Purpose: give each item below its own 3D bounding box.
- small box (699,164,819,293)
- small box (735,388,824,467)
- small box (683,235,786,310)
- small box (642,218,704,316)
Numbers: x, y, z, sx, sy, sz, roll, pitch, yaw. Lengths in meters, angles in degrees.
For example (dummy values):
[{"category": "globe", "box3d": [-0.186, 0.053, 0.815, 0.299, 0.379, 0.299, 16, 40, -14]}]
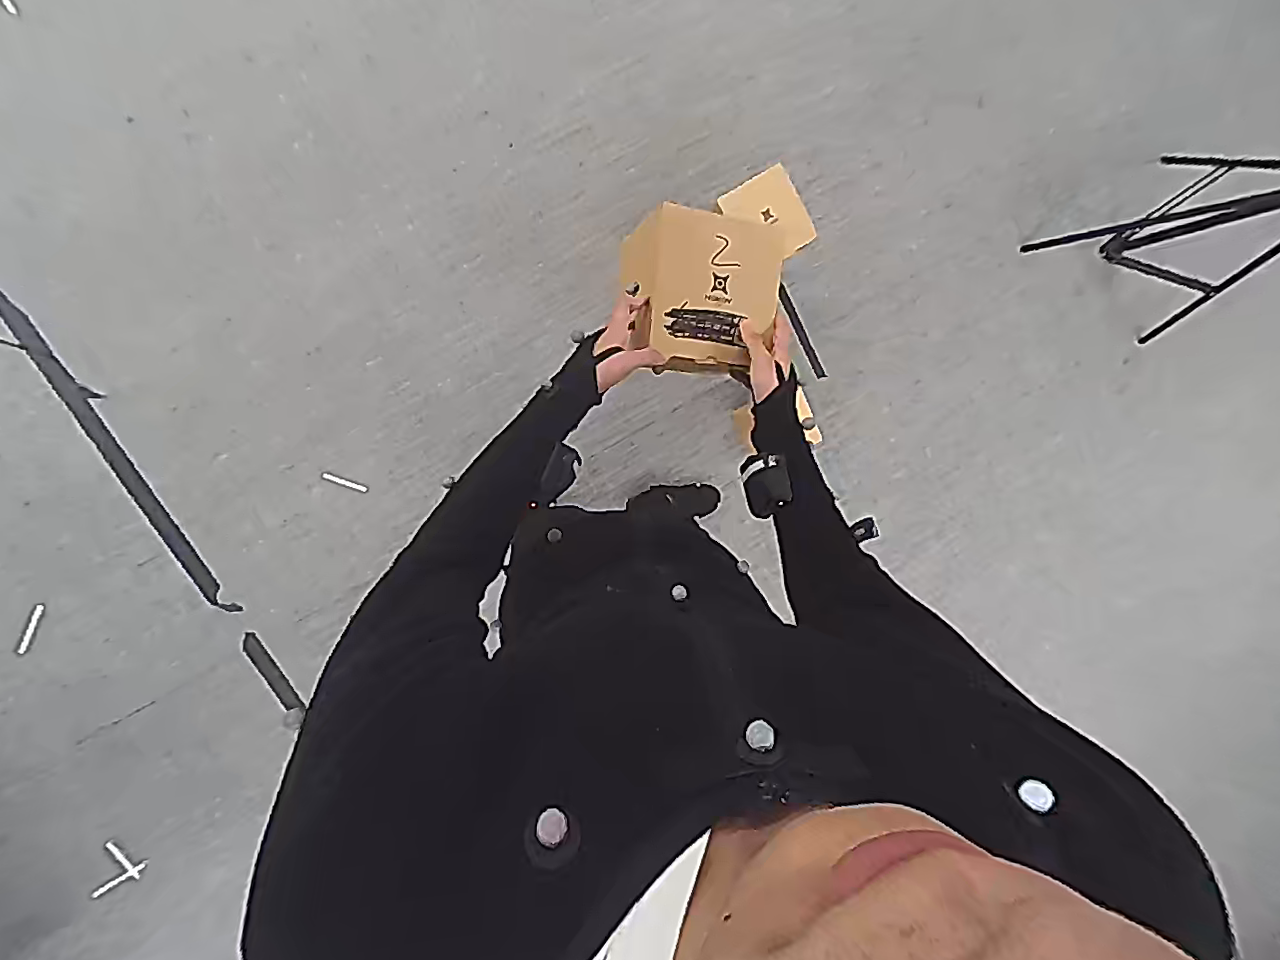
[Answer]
[{"category": "small box", "box3d": [0.254, -0.545, 1.197, 0.168, 0.176, 0.179, -33, 100, -6]}, {"category": "small box", "box3d": [0.406, -0.156, 1.606, 0.168, 0.176, 0.179, -28, 102, -6]}, {"category": "small box", "box3d": [0.231, -0.549, 1.360, 0.179, 0.176, 0.168, -25, 99, -7]}, {"category": "small box", "box3d": [0.127, -0.584, 1.504, 0.179, 0.176, 0.168, -40, 101, -3]}]
